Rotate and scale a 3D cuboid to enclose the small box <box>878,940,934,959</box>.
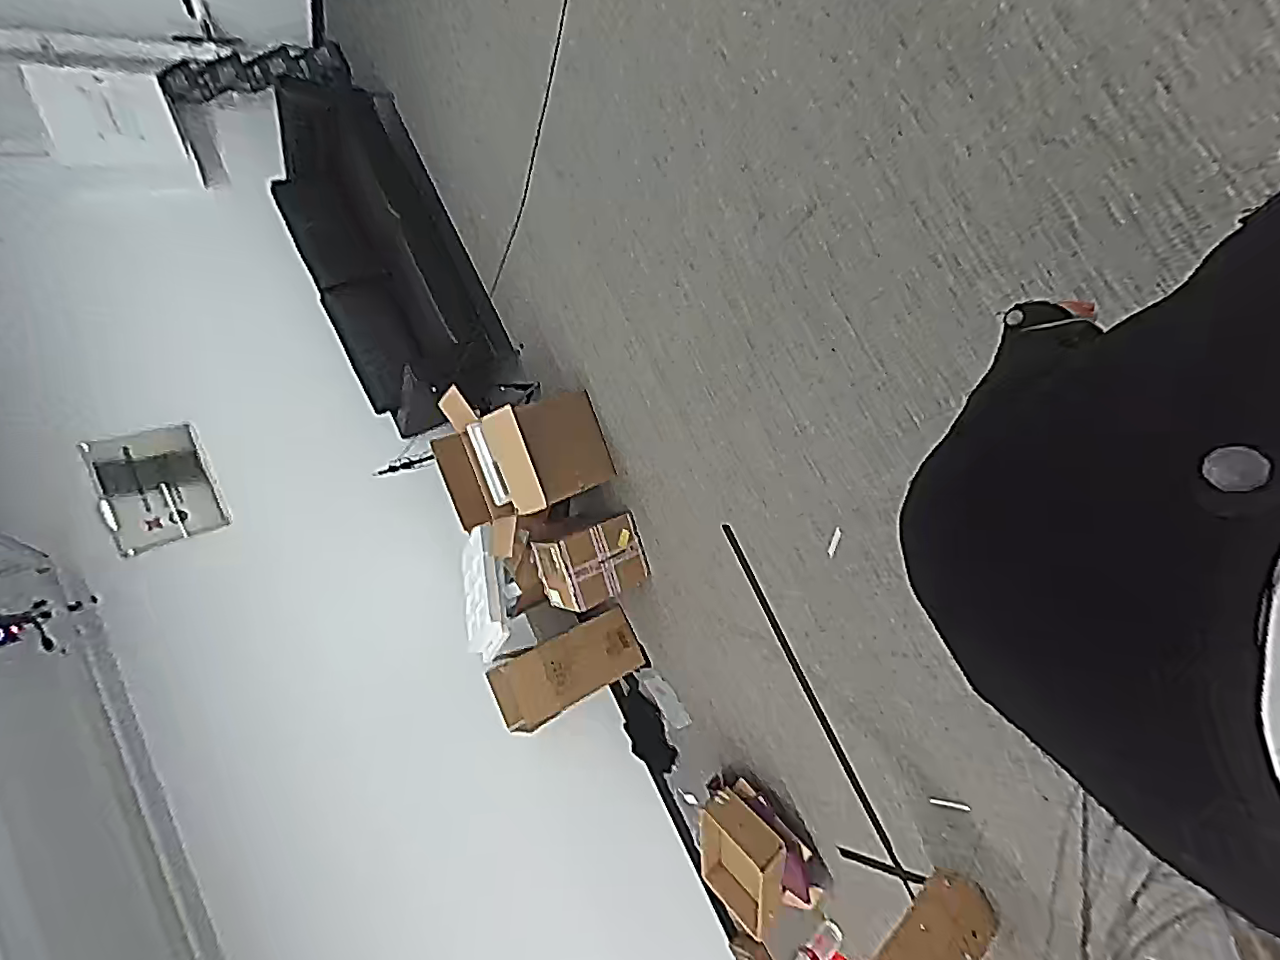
[{"bbox_3d":[0.886,1.666,1.766,0.179,0.176,0.168,-37,77,57],"label":"small box"}]

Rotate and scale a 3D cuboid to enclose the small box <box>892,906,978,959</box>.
[{"bbox_3d":[1.013,1.616,1.853,0.179,0.176,0.168,-35,80,55],"label":"small box"}]

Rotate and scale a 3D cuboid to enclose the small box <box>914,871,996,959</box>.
[{"bbox_3d":[1.139,1.568,1.947,0.168,0.176,0.179,-35,79,56],"label":"small box"}]
